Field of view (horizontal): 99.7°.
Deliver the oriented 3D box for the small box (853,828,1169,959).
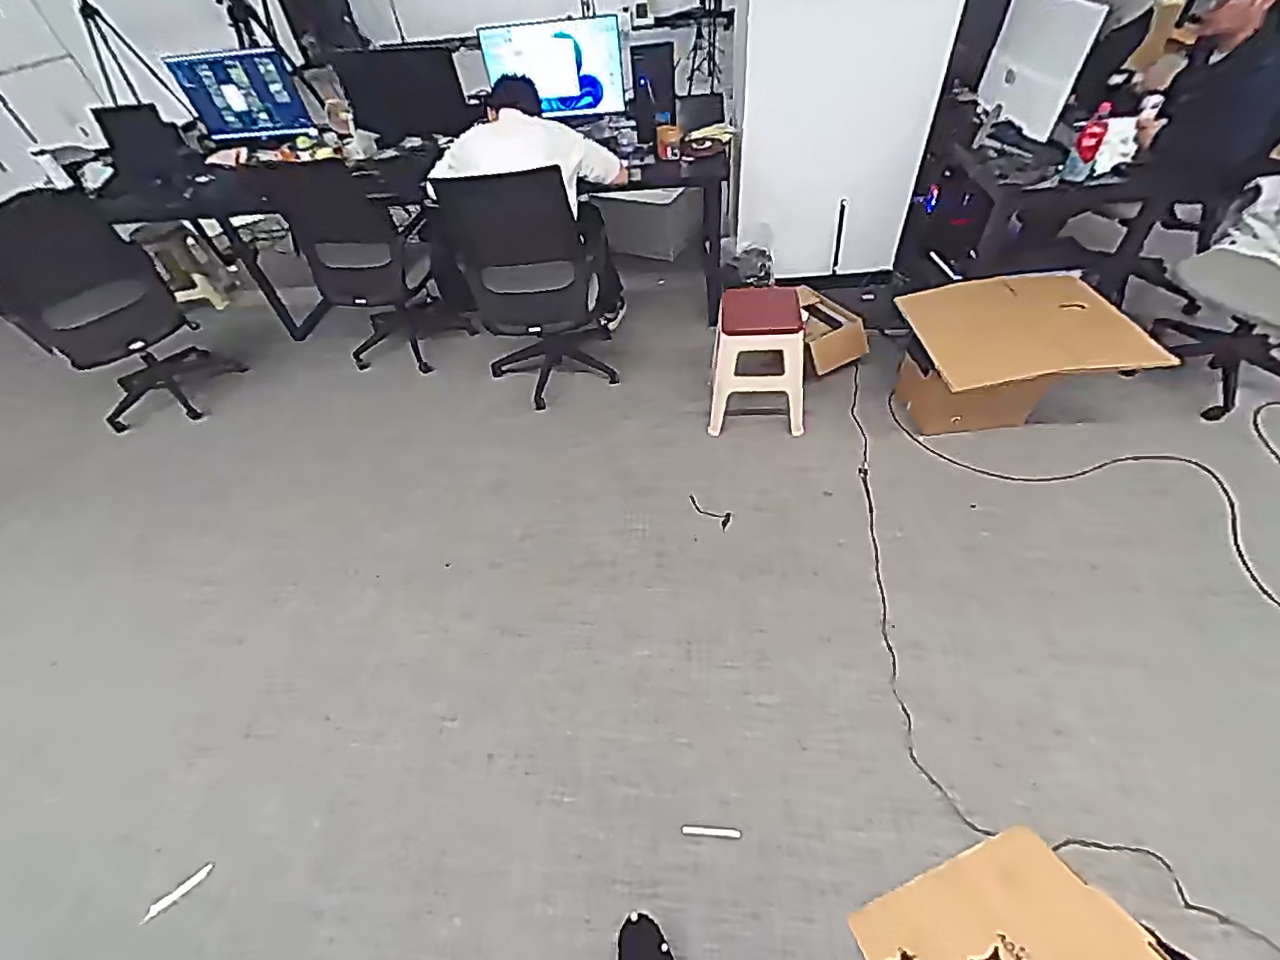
[{"bbox_3d":[0.298,0.418,0.399,0.179,0.176,0.168,-25,6,-1],"label":"small box"}]
